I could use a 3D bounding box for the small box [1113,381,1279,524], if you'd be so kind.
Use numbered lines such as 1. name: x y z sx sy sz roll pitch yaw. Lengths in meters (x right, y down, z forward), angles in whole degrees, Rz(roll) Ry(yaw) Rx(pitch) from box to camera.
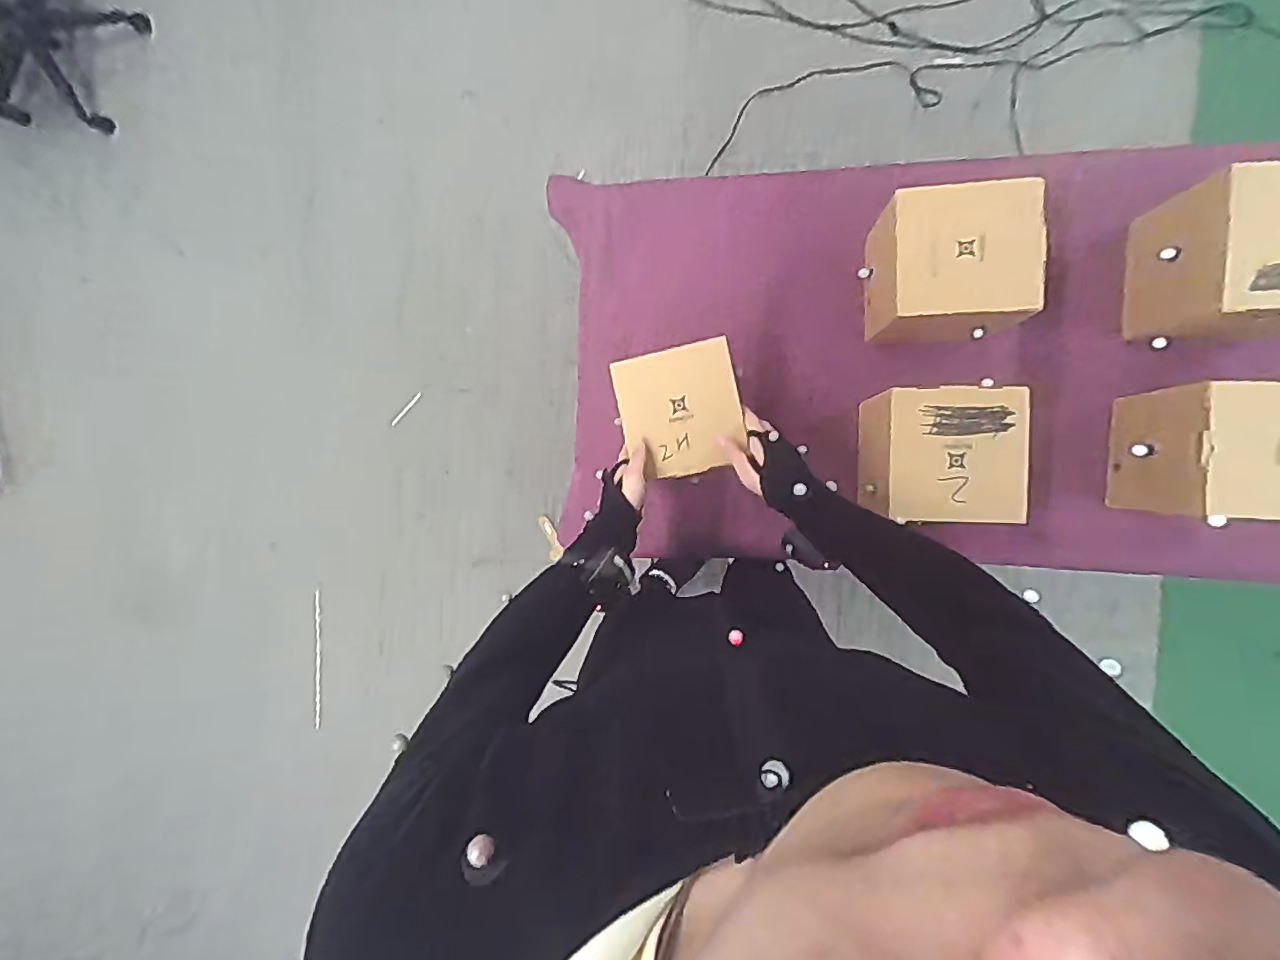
1. small box: 0.766 -0.030 0.700 0.179 0.176 0.168 3 91 10

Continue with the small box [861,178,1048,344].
1. small box: 0.421 -0.290 0.750 0.179 0.176 0.168 0 91 9

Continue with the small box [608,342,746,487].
1. small box: 0.058 -0.088 0.807 0.168 0.176 0.179 -10 90 8

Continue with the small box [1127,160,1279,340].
1. small box: 0.776 -0.281 0.693 0.168 0.176 0.179 2 91 9
